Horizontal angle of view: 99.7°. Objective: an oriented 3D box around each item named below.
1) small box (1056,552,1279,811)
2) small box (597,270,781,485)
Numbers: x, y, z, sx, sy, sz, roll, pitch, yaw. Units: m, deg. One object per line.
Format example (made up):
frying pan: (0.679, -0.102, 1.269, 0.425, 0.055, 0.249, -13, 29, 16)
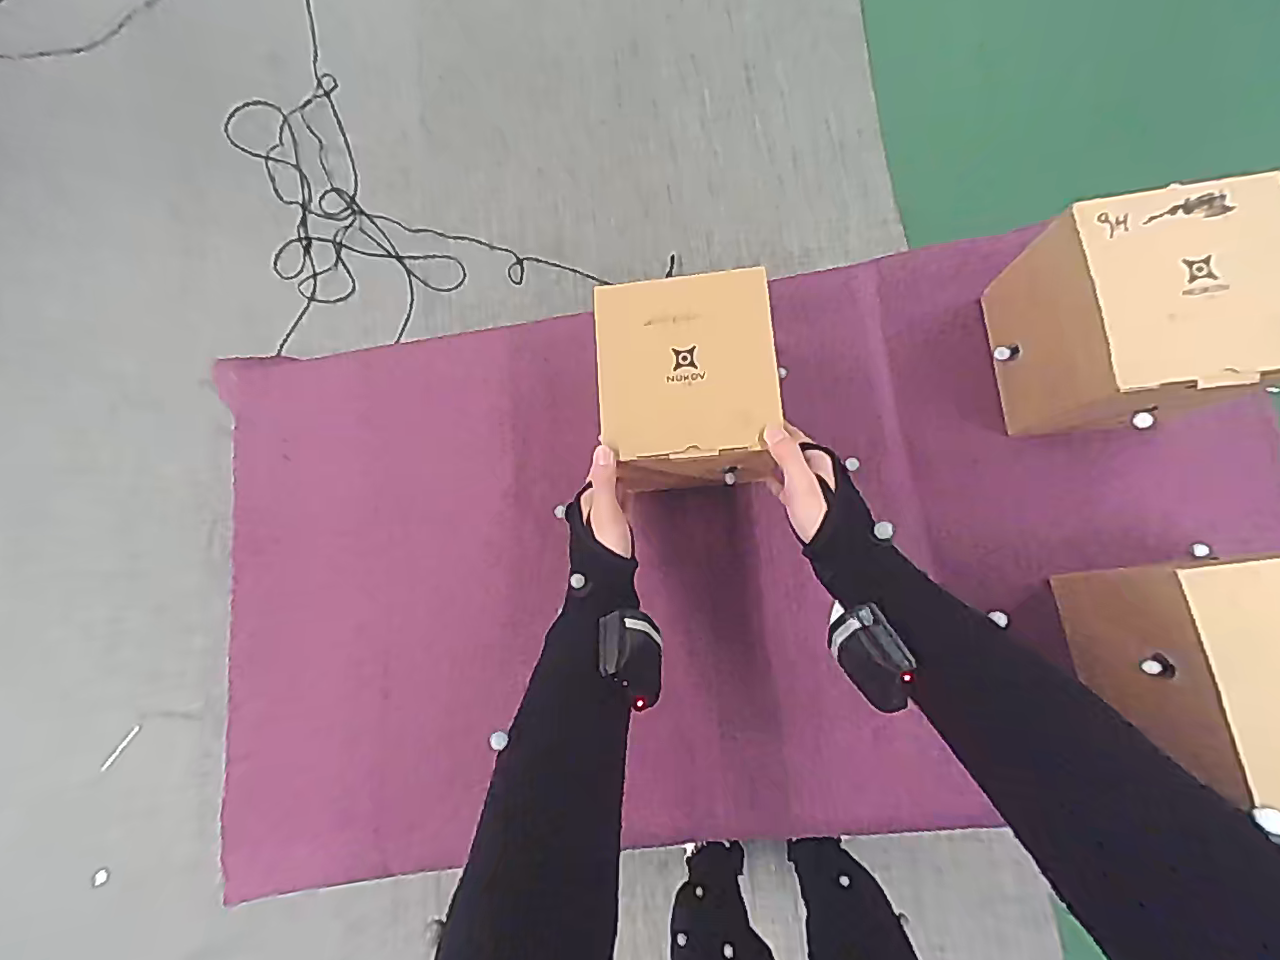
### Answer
small box: (0.507, 0.156, 0.466, 0.168, 0.176, 0.179, -8, 77, 7)
small box: (0.052, -0.093, 0.578, 0.168, 0.176, 0.179, -4, 79, 6)
